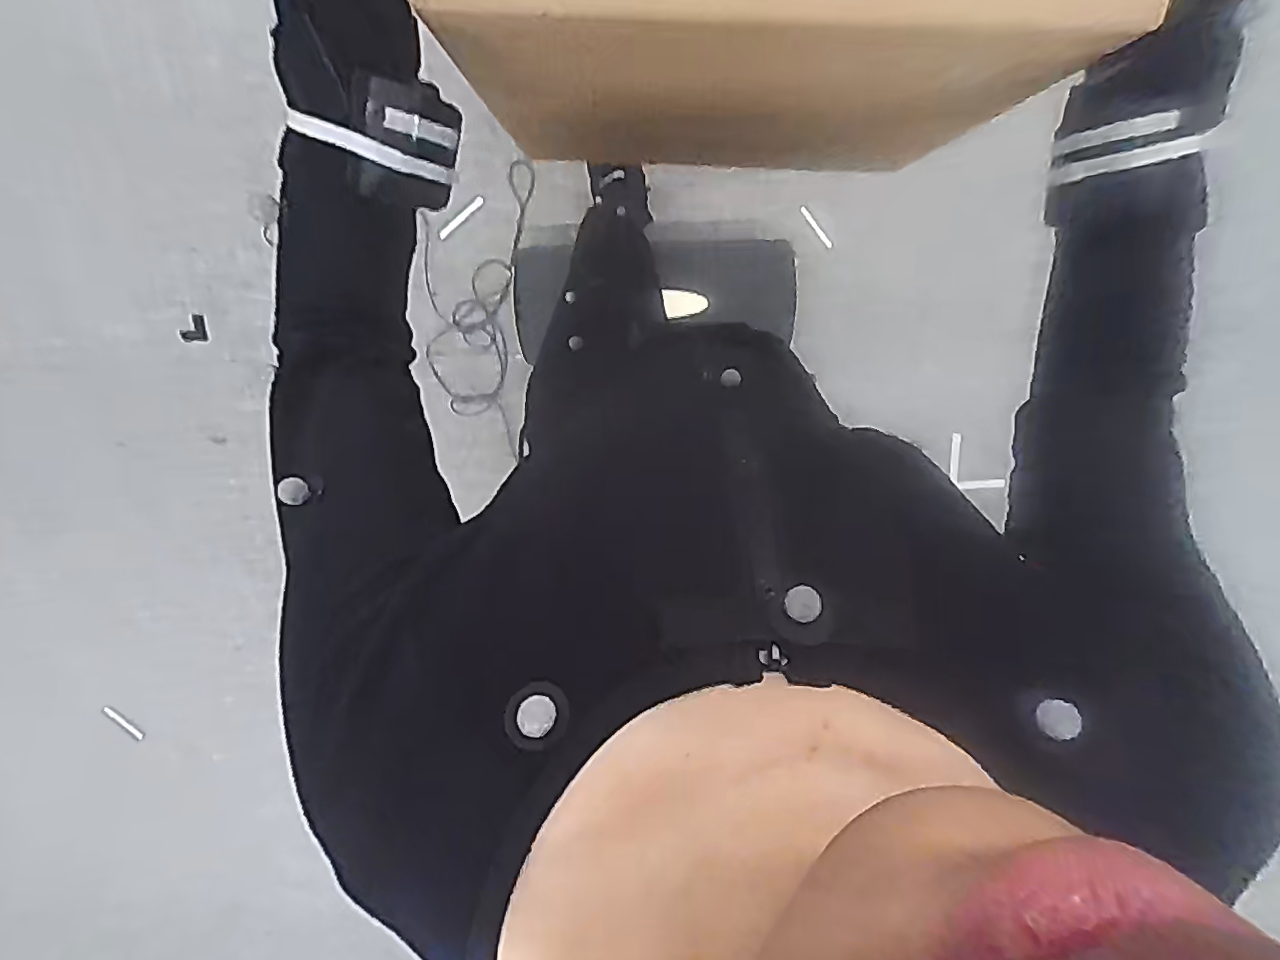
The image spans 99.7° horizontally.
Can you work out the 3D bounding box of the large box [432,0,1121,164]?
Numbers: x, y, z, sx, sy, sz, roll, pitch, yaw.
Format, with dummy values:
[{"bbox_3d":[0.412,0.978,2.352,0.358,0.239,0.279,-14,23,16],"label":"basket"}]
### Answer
[{"bbox_3d":[0.075,-0.452,0.405,0.408,0.320,0.320,1,106,-1],"label":"large box"}]
